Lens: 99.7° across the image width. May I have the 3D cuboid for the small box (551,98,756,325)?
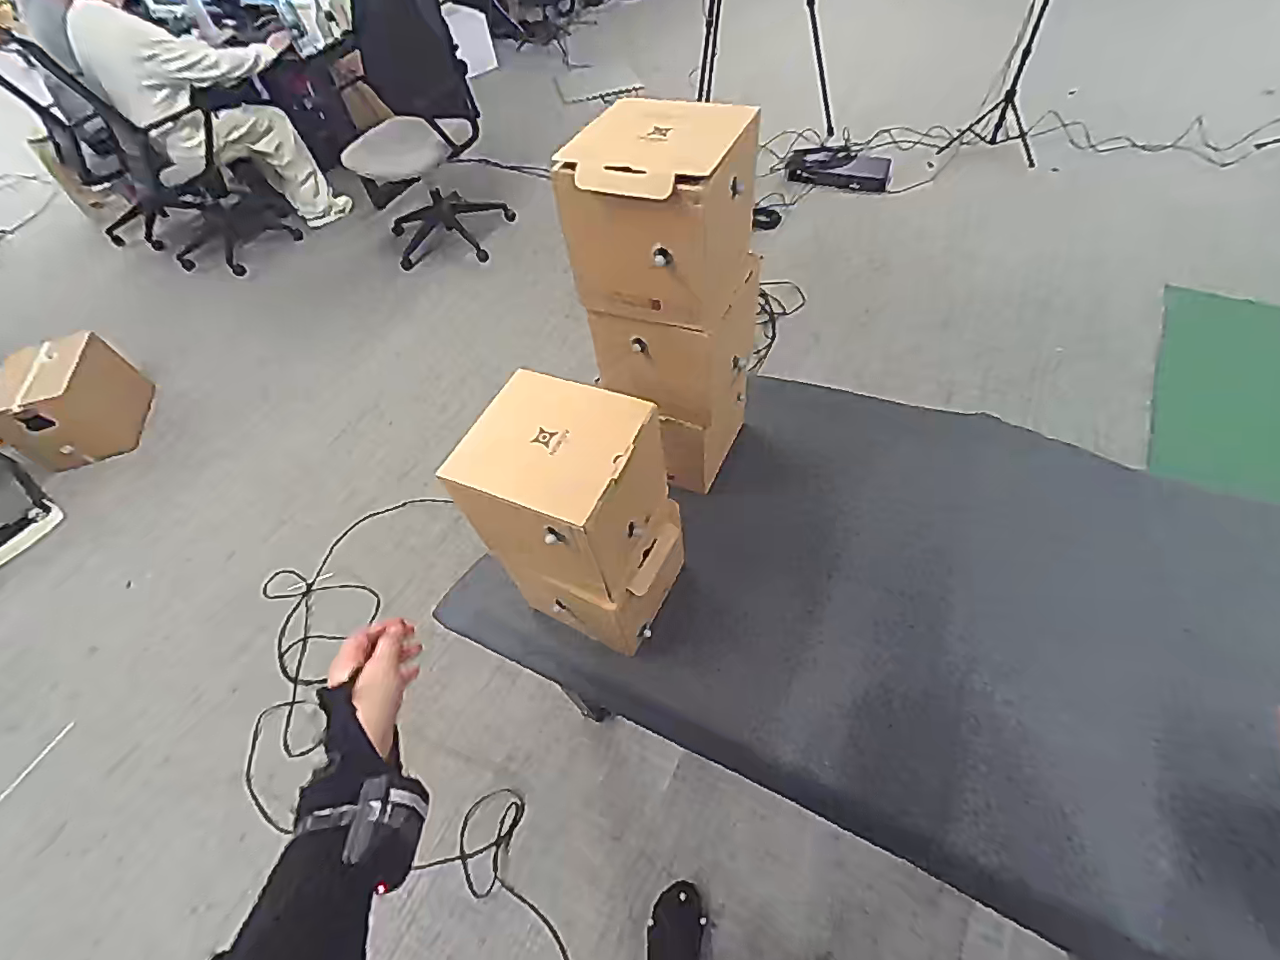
[{"bbox_3d":[0.025,-0.304,0.620,0.168,0.176,0.179,17,58,17],"label":"small box"}]

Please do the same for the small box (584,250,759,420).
[{"bbox_3d":[0.049,-0.209,0.749,0.179,0.176,0.168,20,61,20],"label":"small box"}]

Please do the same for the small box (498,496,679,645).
[{"bbox_3d":[-0.056,0.105,0.743,0.179,0.176,0.168,20,60,21],"label":"small box"}]

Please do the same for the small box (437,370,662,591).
[{"bbox_3d":[-0.086,0.004,0.618,0.179,0.176,0.168,17,58,18],"label":"small box"}]
